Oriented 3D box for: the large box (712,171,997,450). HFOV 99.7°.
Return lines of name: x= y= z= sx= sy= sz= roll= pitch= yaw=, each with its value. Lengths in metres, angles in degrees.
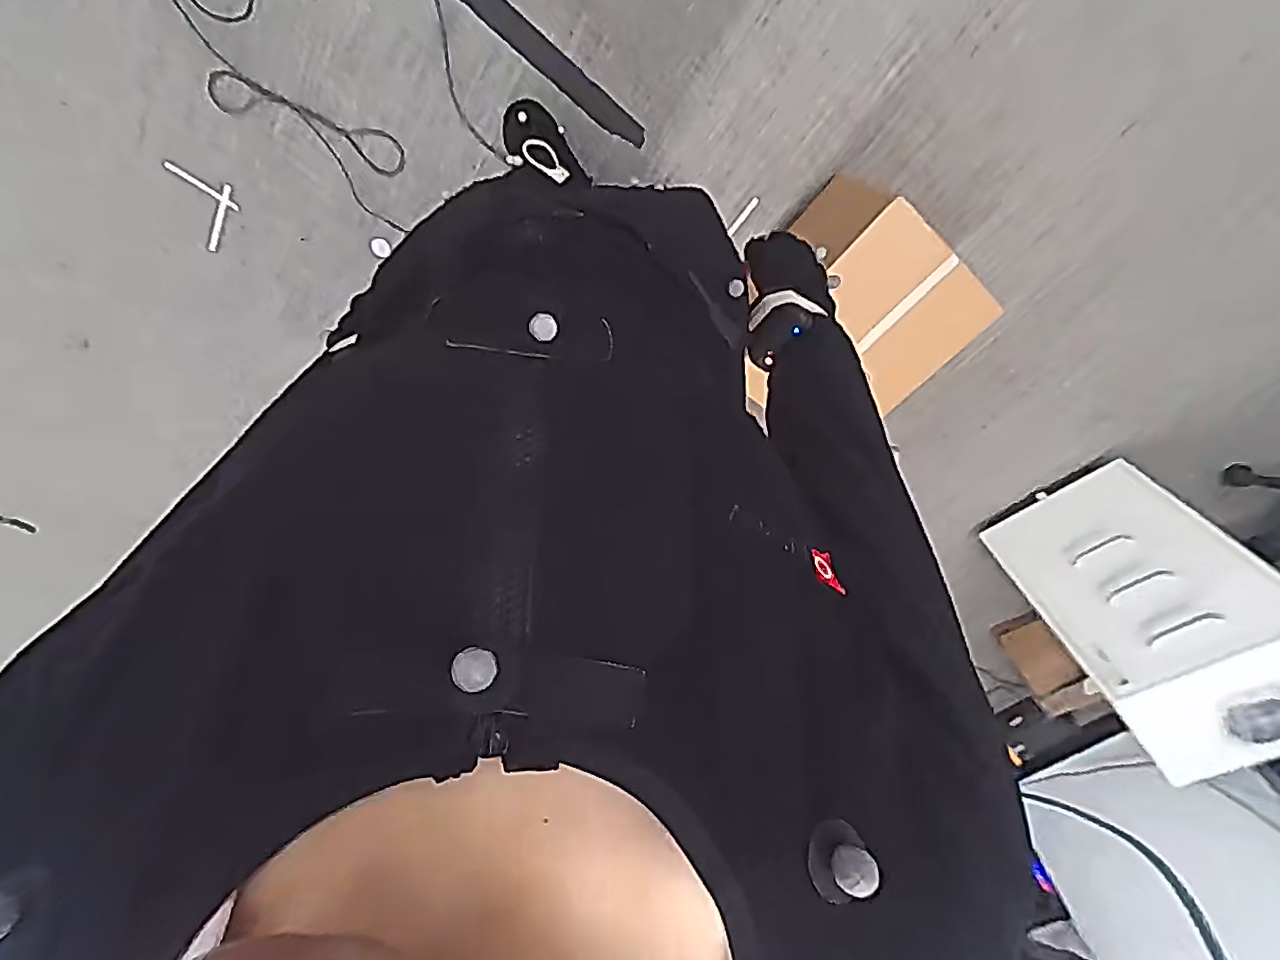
large box: x=0.405 y=-0.349 z=1.128 sx=0.320 sy=0.320 sz=0.408 roll=32 pitch=119 yaw=-22
